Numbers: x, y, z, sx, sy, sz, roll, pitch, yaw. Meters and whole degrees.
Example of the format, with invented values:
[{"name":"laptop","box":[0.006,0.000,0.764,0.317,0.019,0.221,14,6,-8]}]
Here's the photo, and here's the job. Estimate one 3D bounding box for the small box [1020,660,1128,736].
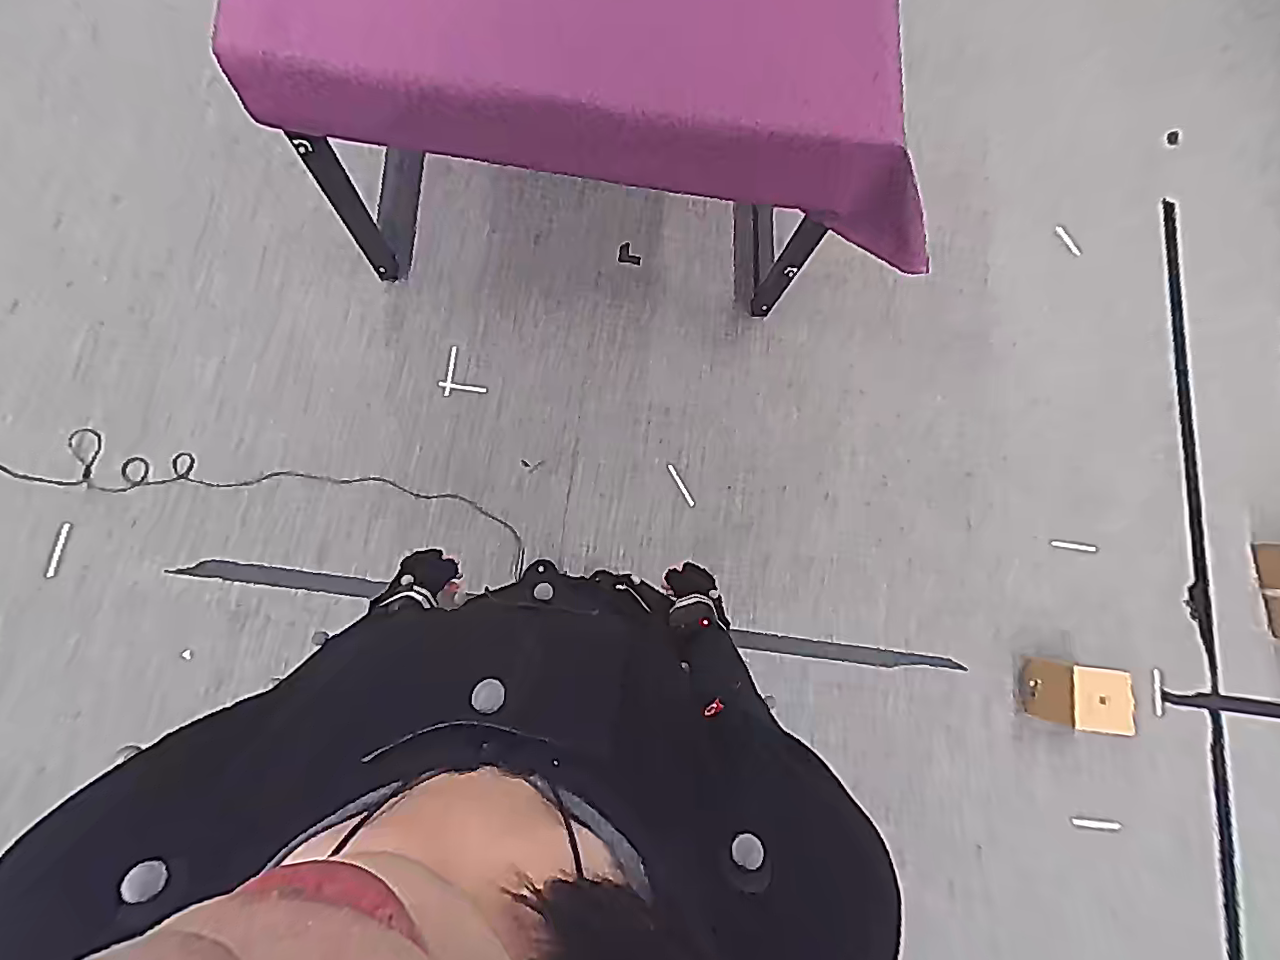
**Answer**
[{"name":"small box","box":[1.231,0.614,1.543,0.179,0.176,0.168,8,78,-5]}]
